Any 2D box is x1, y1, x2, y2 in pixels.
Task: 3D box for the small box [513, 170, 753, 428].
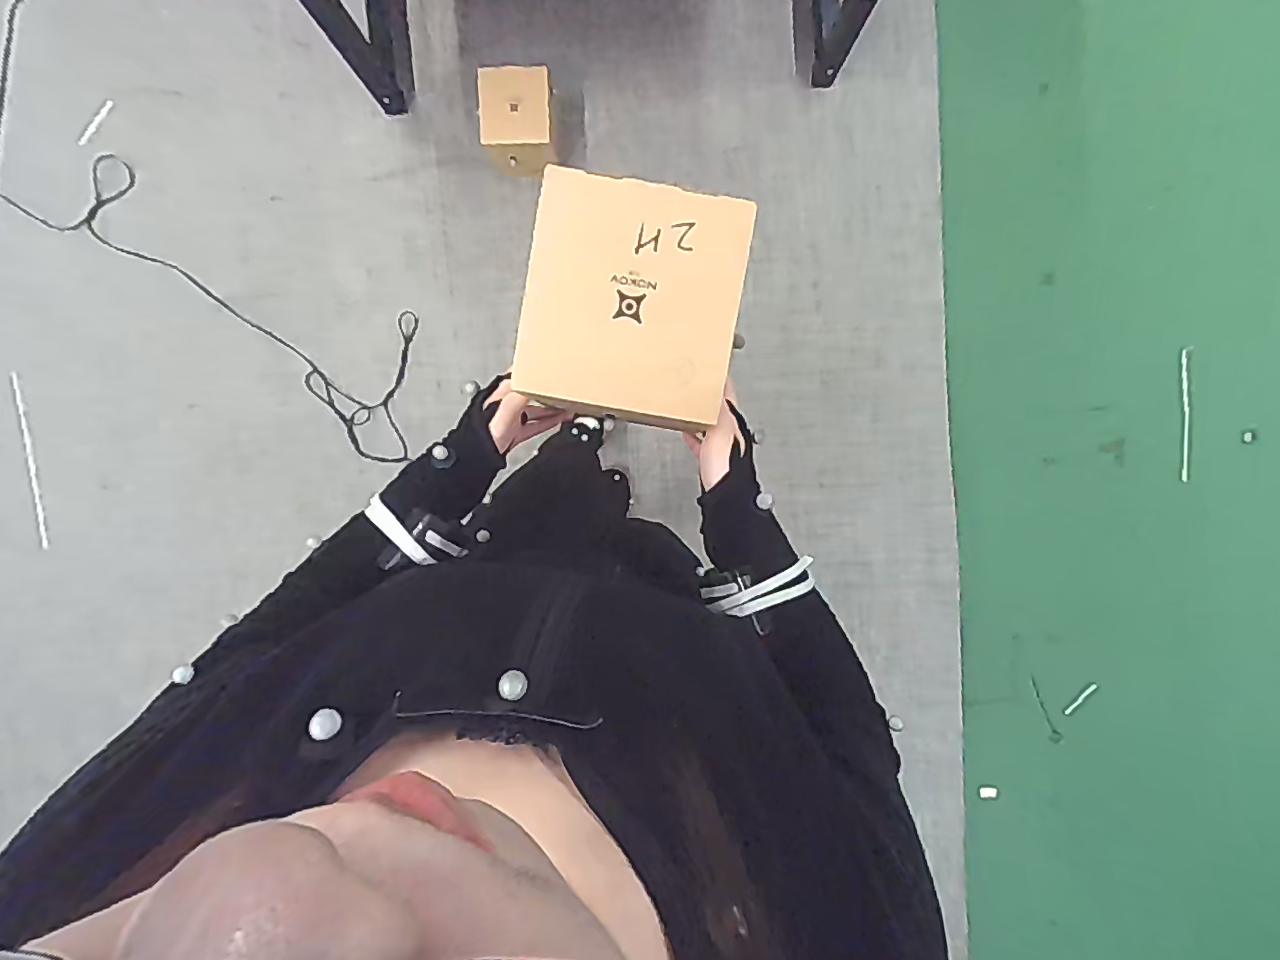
[{"bbox_3d":[-0.007,-0.148,0.509,0.168,0.176,0.179,11,93,-1],"label":"small box"}]
